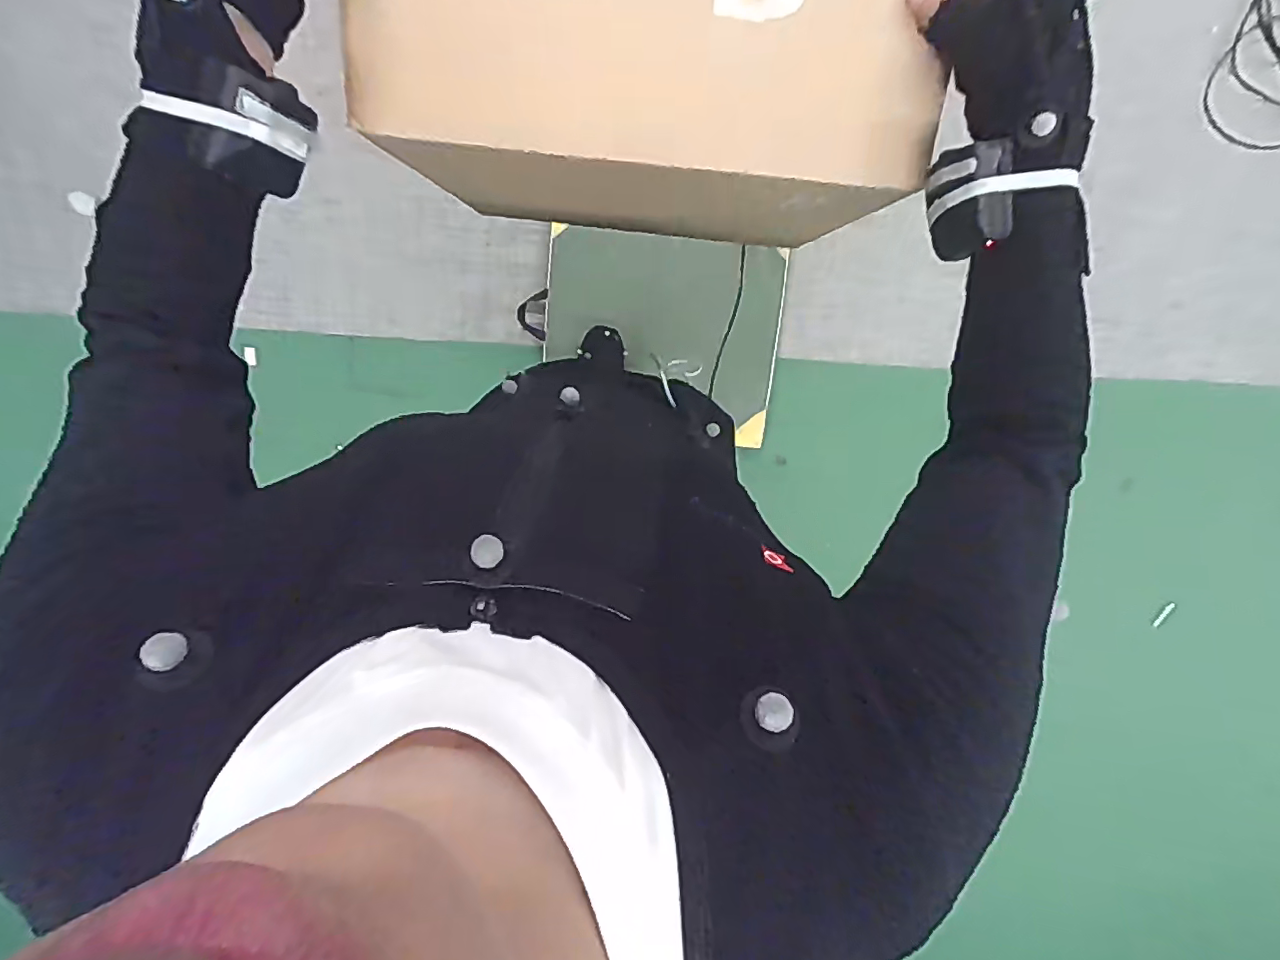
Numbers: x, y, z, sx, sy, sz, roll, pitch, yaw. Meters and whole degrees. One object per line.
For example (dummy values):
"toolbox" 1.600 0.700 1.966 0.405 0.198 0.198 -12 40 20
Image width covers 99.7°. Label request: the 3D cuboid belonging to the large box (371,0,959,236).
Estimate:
"large box" 0.019 -0.423 0.490 0.408 0.320 0.320 5 107 -3
